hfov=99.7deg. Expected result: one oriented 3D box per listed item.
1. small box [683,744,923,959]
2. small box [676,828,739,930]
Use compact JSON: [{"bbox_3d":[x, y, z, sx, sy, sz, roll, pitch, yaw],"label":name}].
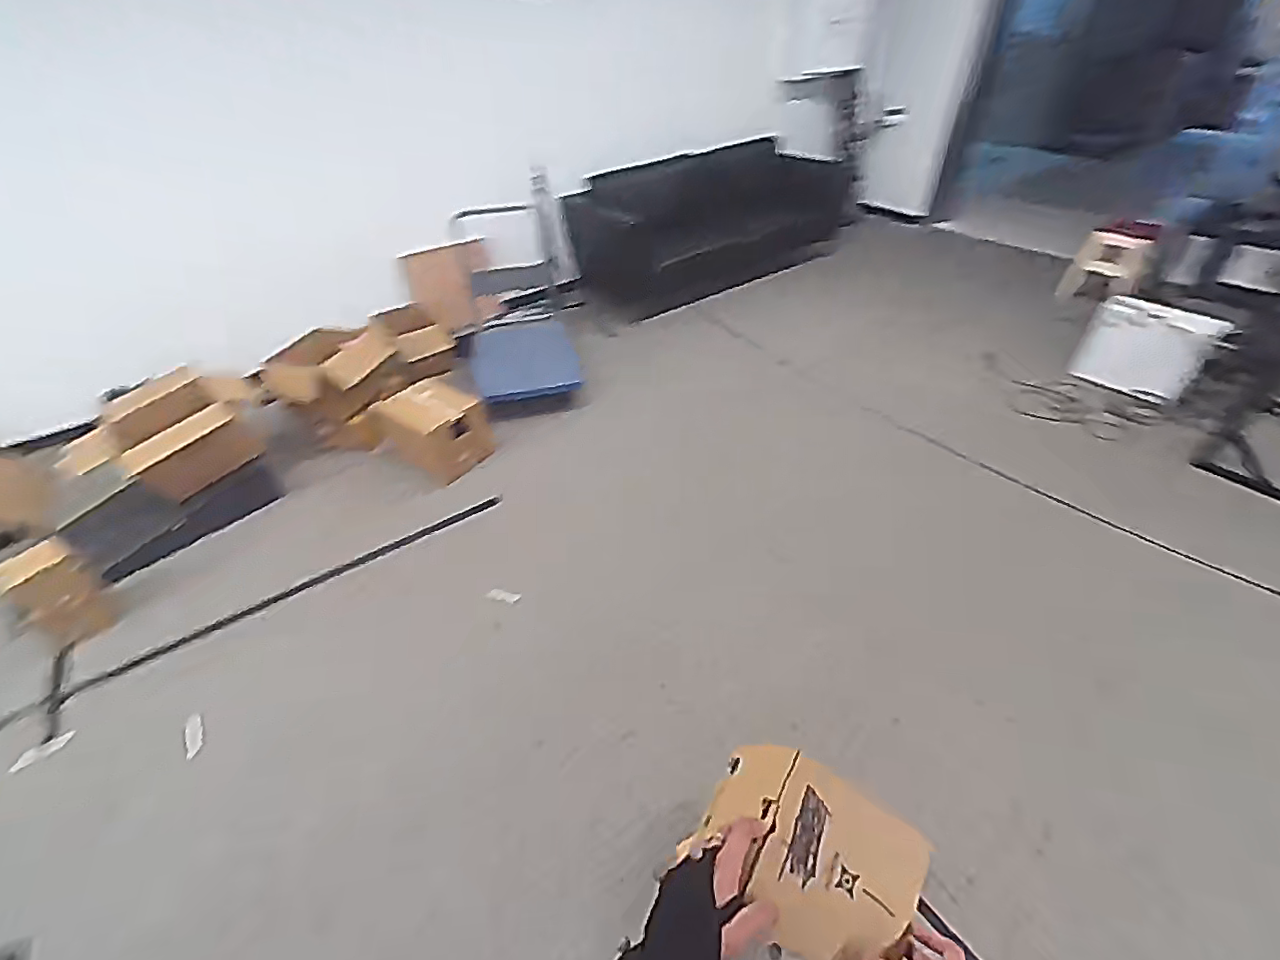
[{"bbox_3d":[0.174,0.425,0.616,0.179,0.176,0.168,34,62,0],"label":"small box"},{"bbox_3d":[0.202,0.949,1.313,0.168,0.176,0.179,-21,43,-19],"label":"small box"}]
